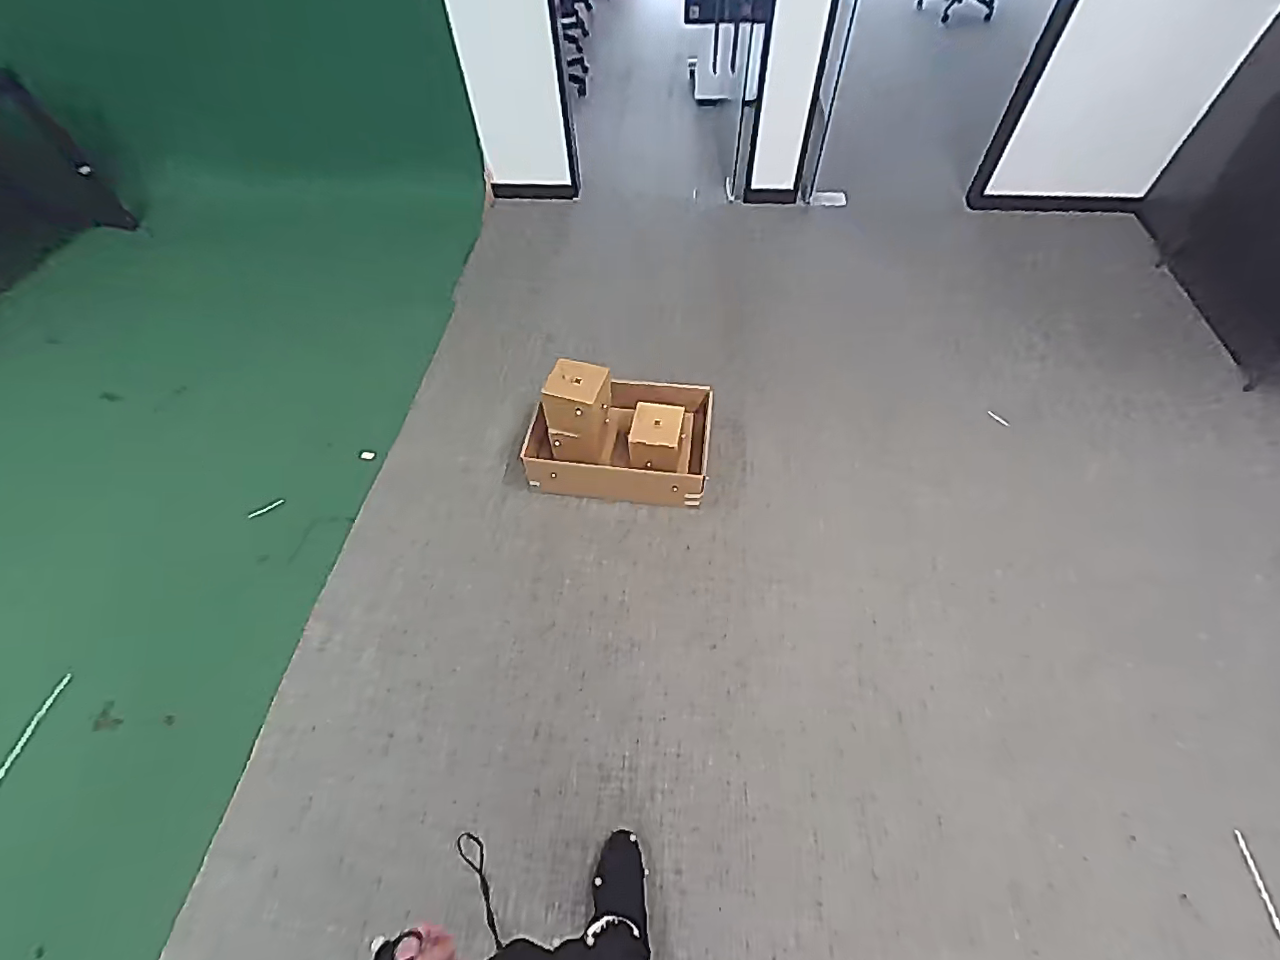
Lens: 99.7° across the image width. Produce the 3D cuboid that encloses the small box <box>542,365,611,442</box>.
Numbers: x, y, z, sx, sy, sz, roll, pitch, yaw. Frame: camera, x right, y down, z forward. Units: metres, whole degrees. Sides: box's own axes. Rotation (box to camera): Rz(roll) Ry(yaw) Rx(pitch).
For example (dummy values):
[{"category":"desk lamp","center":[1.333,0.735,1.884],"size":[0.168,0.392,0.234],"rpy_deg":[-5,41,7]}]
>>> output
[{"category":"small box","center":[-0.199,-0.246,1.772],"size":[0.179,0.176,0.168],"rpy_deg":[14,55,10]}]
